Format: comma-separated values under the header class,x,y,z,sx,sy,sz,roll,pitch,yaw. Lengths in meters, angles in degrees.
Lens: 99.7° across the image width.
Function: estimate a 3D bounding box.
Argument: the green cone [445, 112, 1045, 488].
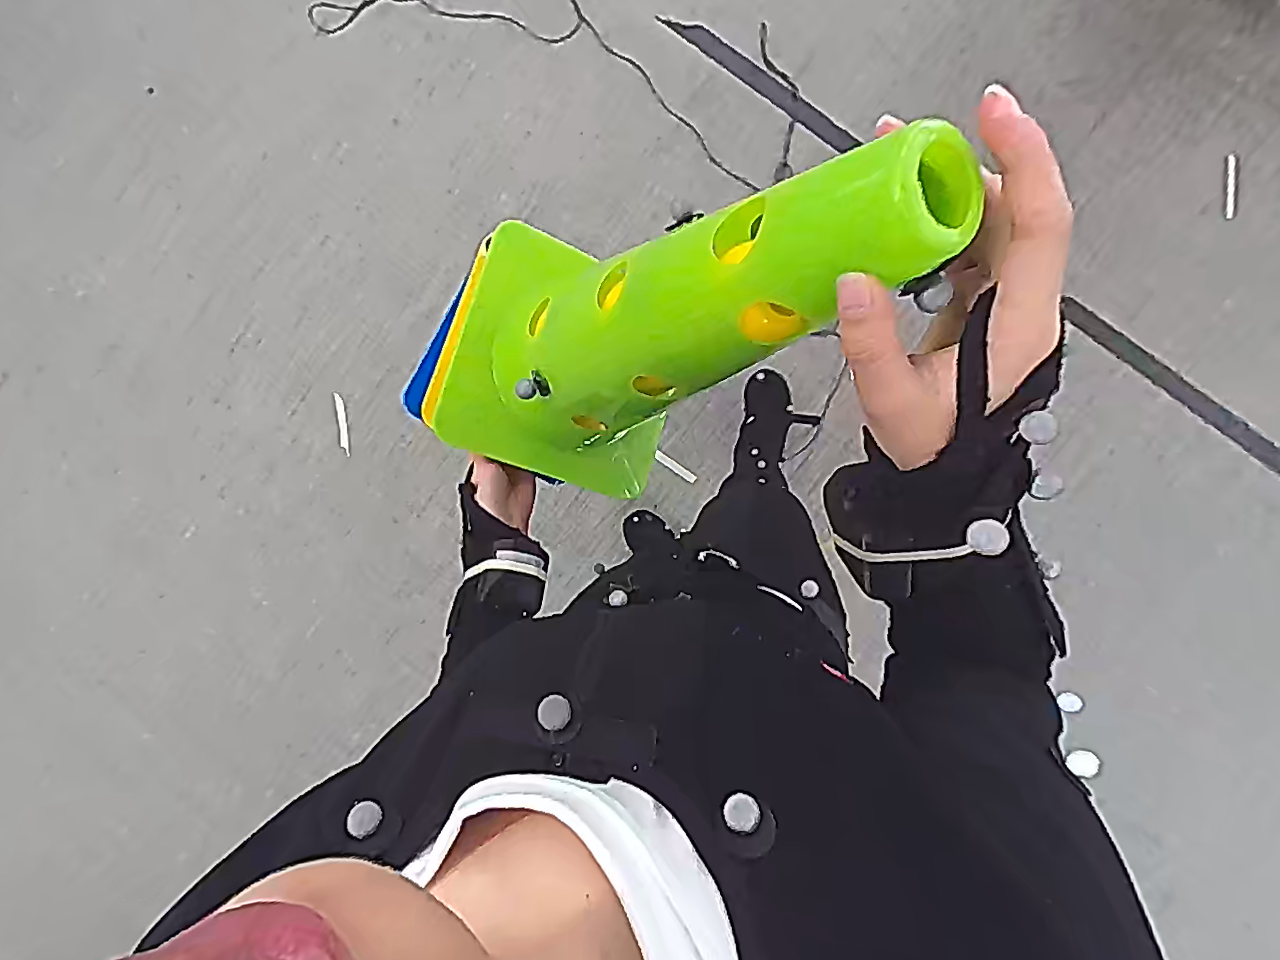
class,x,y,z,sx,sy,sz,roll,pitch,yaw
green cone,0.026,-0.100,0.314,0.200,0.368,0.202,19,85,-24
